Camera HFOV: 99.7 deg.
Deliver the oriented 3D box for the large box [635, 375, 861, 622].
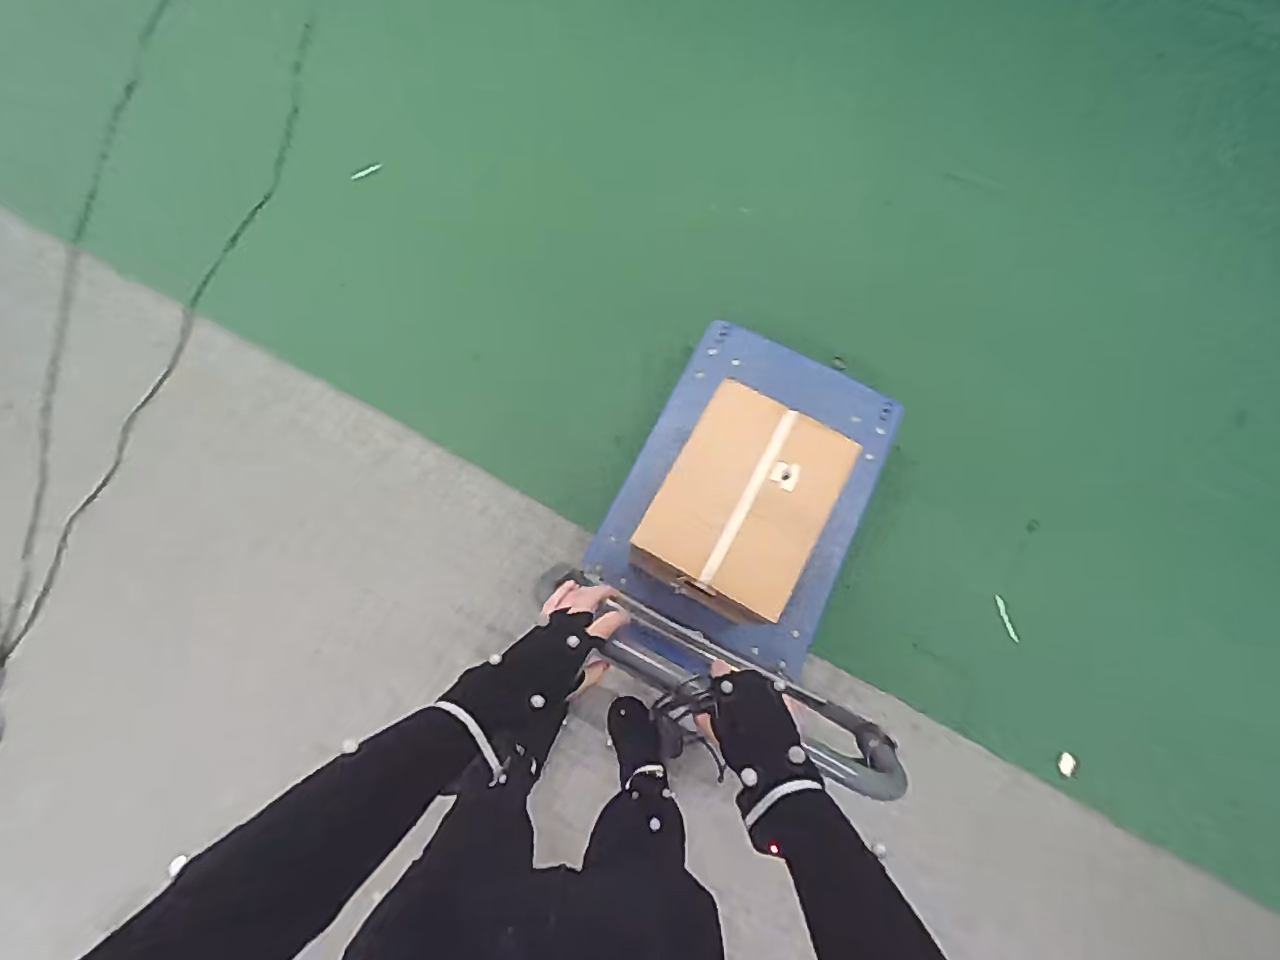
[{"bbox_3d":[0.213,0.059,1.191,0.320,0.320,0.408,30,75,6],"label":"large box"}]
